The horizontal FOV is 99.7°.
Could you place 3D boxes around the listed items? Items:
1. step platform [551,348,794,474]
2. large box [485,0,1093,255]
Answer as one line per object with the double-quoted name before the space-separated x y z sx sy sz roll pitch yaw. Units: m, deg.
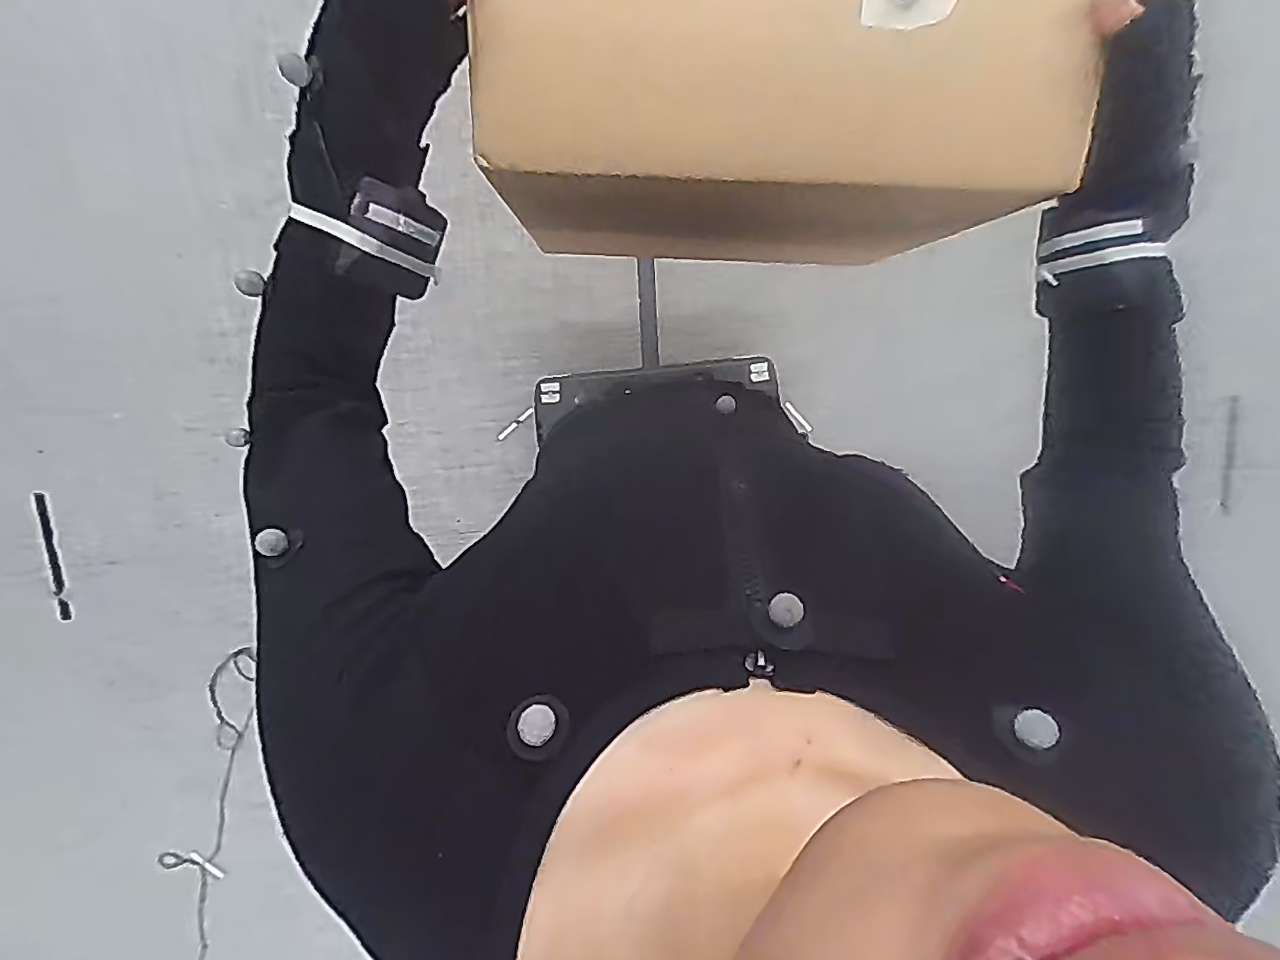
"step platform" 0.089 -0.198 1.552 0.684 0.204 0.286 -7 100 -2
"large box" 0.091 -0.391 0.481 0.408 0.320 0.320 0 104 -3
